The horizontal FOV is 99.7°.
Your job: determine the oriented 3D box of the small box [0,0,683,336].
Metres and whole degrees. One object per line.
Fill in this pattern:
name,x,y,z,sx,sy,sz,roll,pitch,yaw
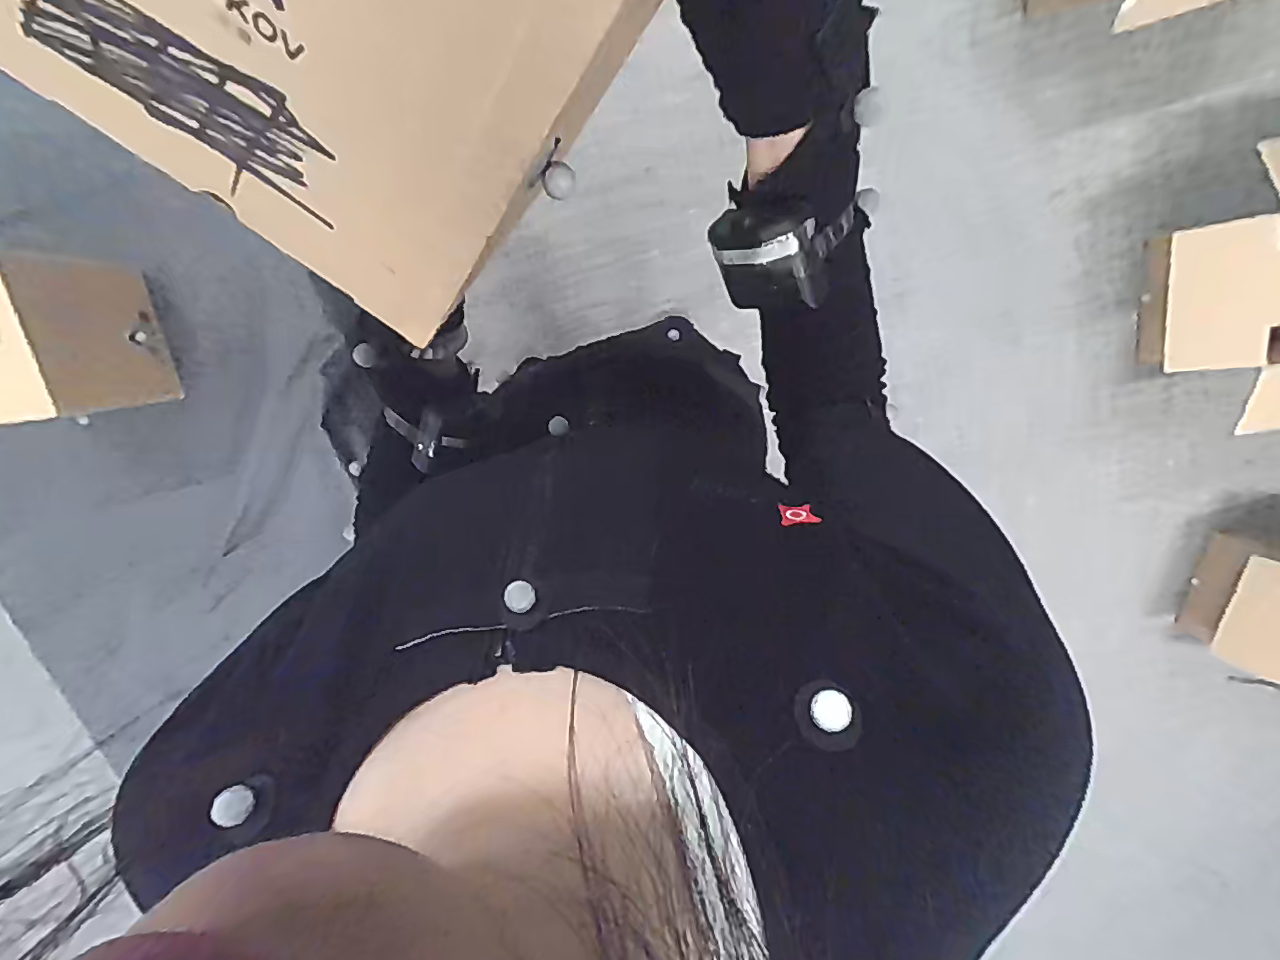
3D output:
small box,-0.078,-0.196,0.193,0.168,0.176,0.179,34,140,-22
